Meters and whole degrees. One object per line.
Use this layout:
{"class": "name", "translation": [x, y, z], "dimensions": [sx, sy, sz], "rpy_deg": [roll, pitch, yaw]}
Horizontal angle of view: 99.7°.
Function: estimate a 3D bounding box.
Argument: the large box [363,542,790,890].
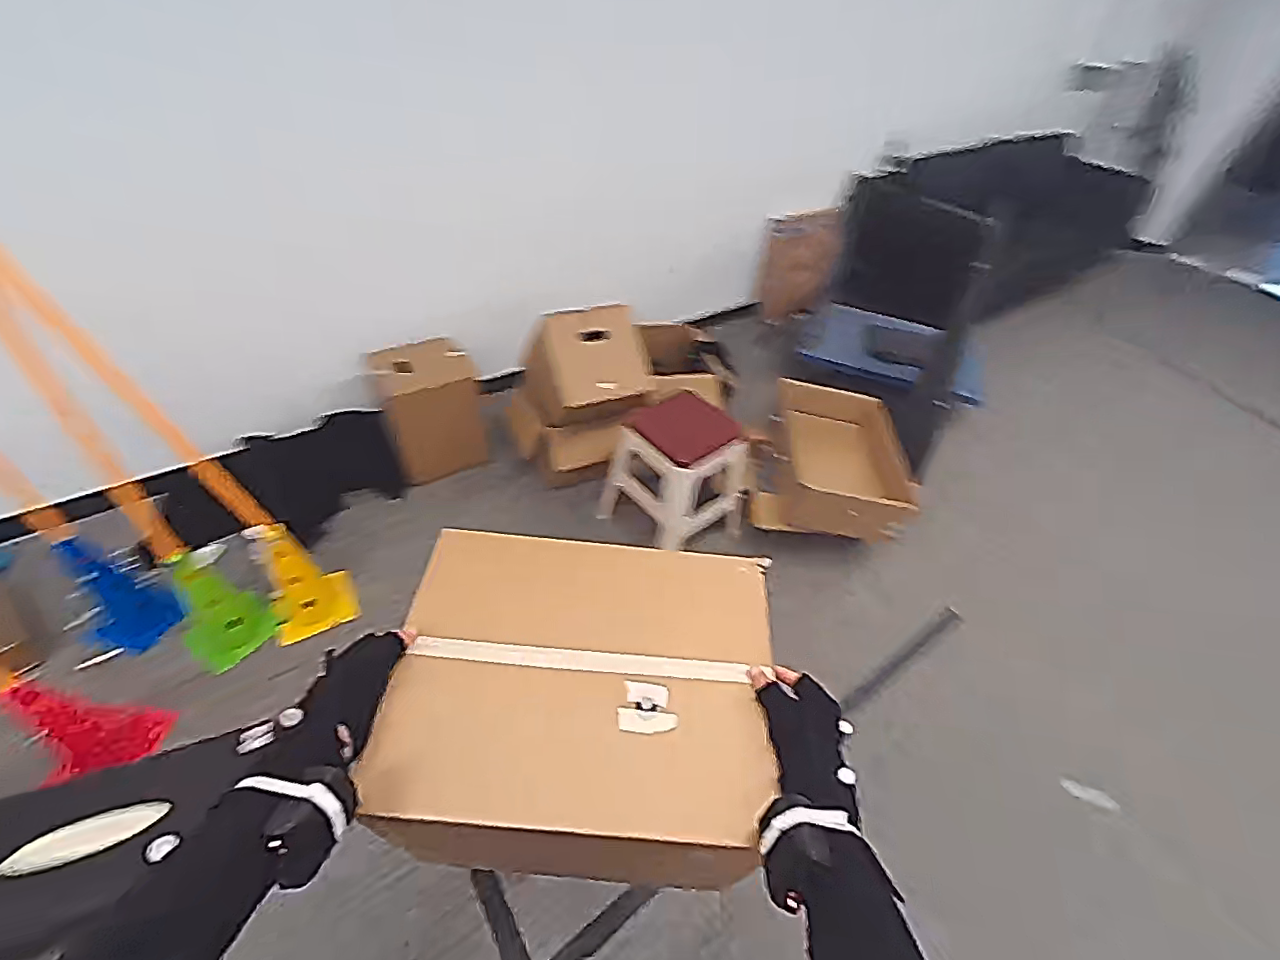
{"class": "large box", "translation": [-0.062, 0.310, 0.703], "dimensions": [0.408, 0.320, 0.320], "rpy_deg": [7, 48, -1]}
